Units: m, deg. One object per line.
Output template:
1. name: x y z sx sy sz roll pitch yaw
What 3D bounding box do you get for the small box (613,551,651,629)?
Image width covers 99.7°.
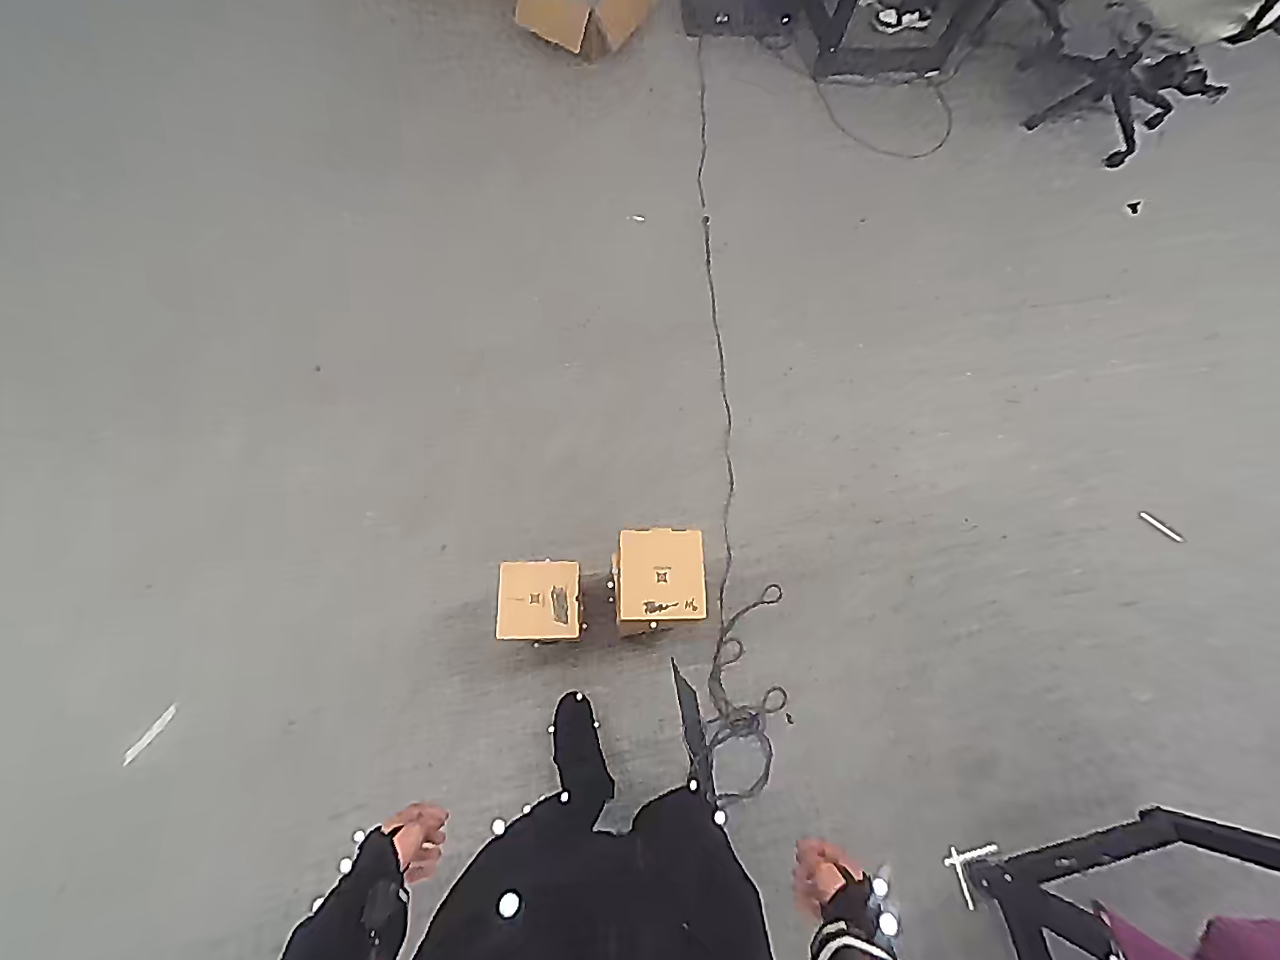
1. small box: 0.030 0.256 1.278 0.179 0.176 0.168 -6 72 -7

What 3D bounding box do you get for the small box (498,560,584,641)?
1. small box: -0.219 0.280 1.244 0.179 0.176 0.168 1 71 -4

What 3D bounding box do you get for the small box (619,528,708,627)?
1. small box: 0.041 0.206 1.121 0.168 0.176 0.179 1 70 -4

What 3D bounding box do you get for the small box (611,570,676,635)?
1. small box: 0.017 0.307 1.431 0.168 0.176 0.179 -8 73 -7
